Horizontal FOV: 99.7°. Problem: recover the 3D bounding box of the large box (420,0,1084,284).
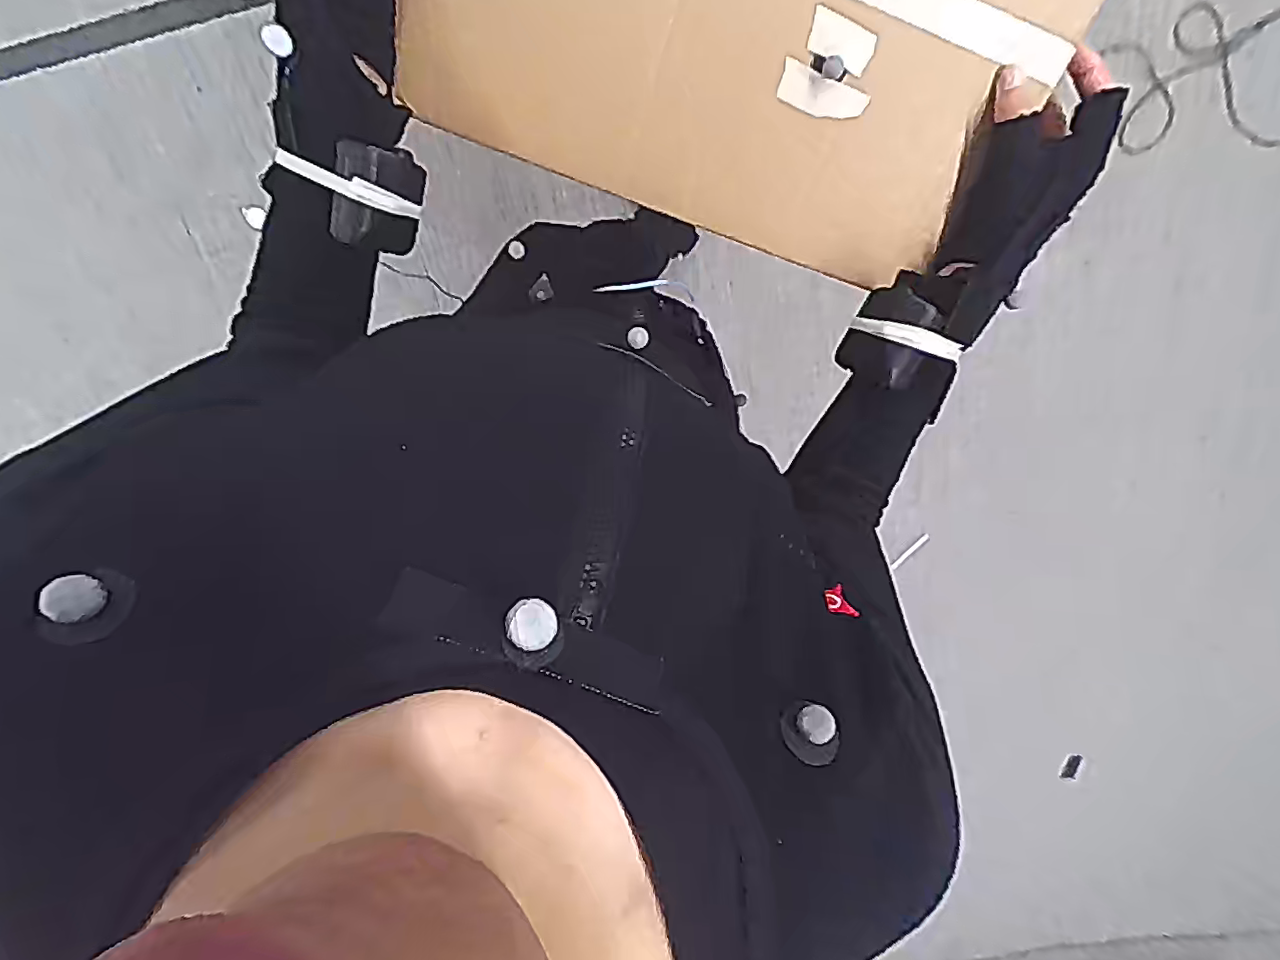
[{"bbox_3d":[0.081,-0.414,0.446,0.408,0.320,0.320,17,126,-9],"label":"large box"}]
